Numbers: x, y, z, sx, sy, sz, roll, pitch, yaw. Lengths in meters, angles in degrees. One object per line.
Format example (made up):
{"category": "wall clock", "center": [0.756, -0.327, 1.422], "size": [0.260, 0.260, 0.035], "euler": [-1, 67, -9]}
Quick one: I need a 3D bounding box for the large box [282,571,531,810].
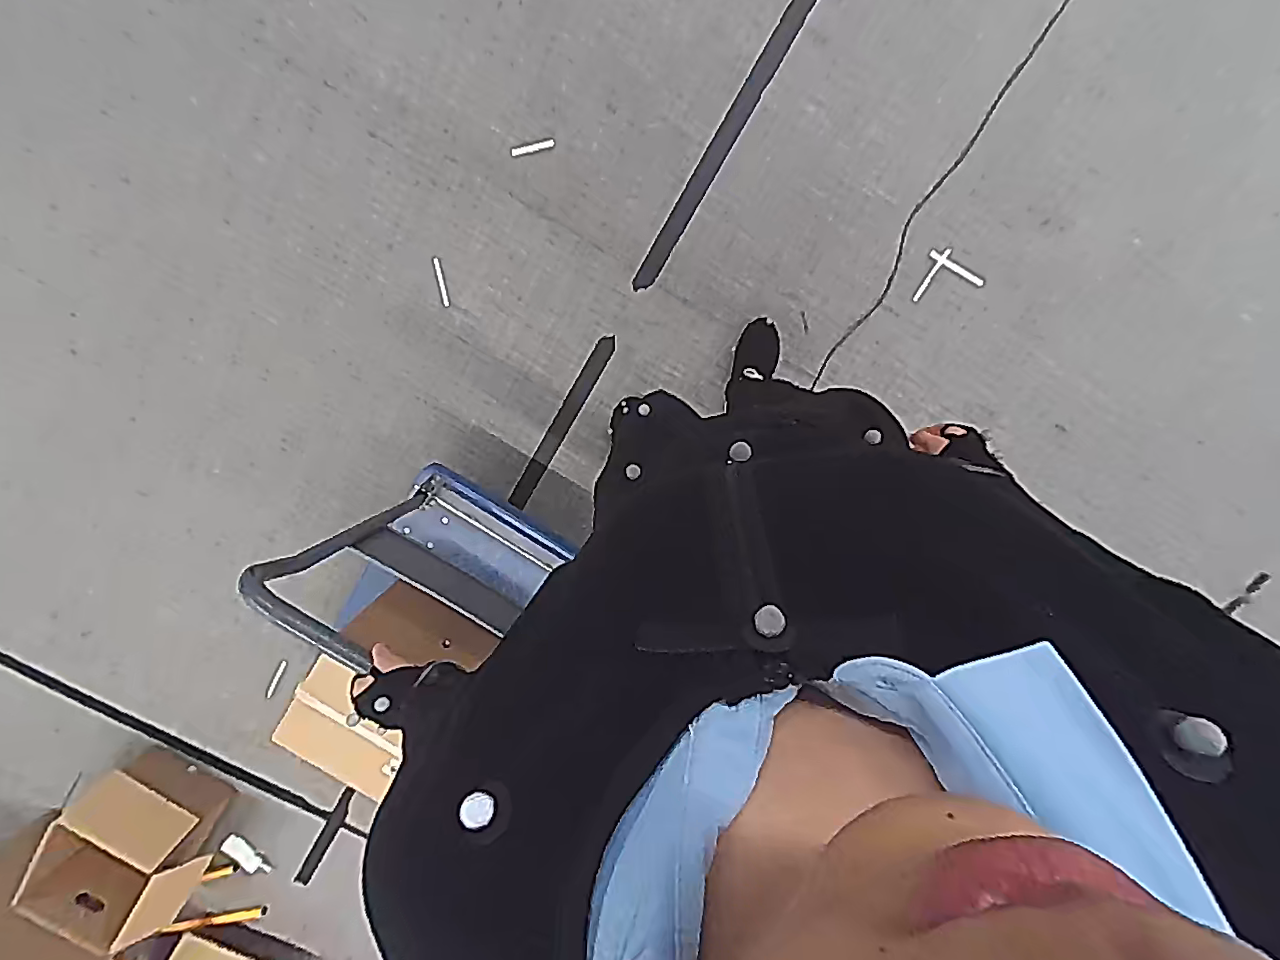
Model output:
{"category": "large box", "center": [-0.543, 0.493, 1.327], "size": [0.408, 0.320, 0.320], "euler": [34, 104, -7]}
